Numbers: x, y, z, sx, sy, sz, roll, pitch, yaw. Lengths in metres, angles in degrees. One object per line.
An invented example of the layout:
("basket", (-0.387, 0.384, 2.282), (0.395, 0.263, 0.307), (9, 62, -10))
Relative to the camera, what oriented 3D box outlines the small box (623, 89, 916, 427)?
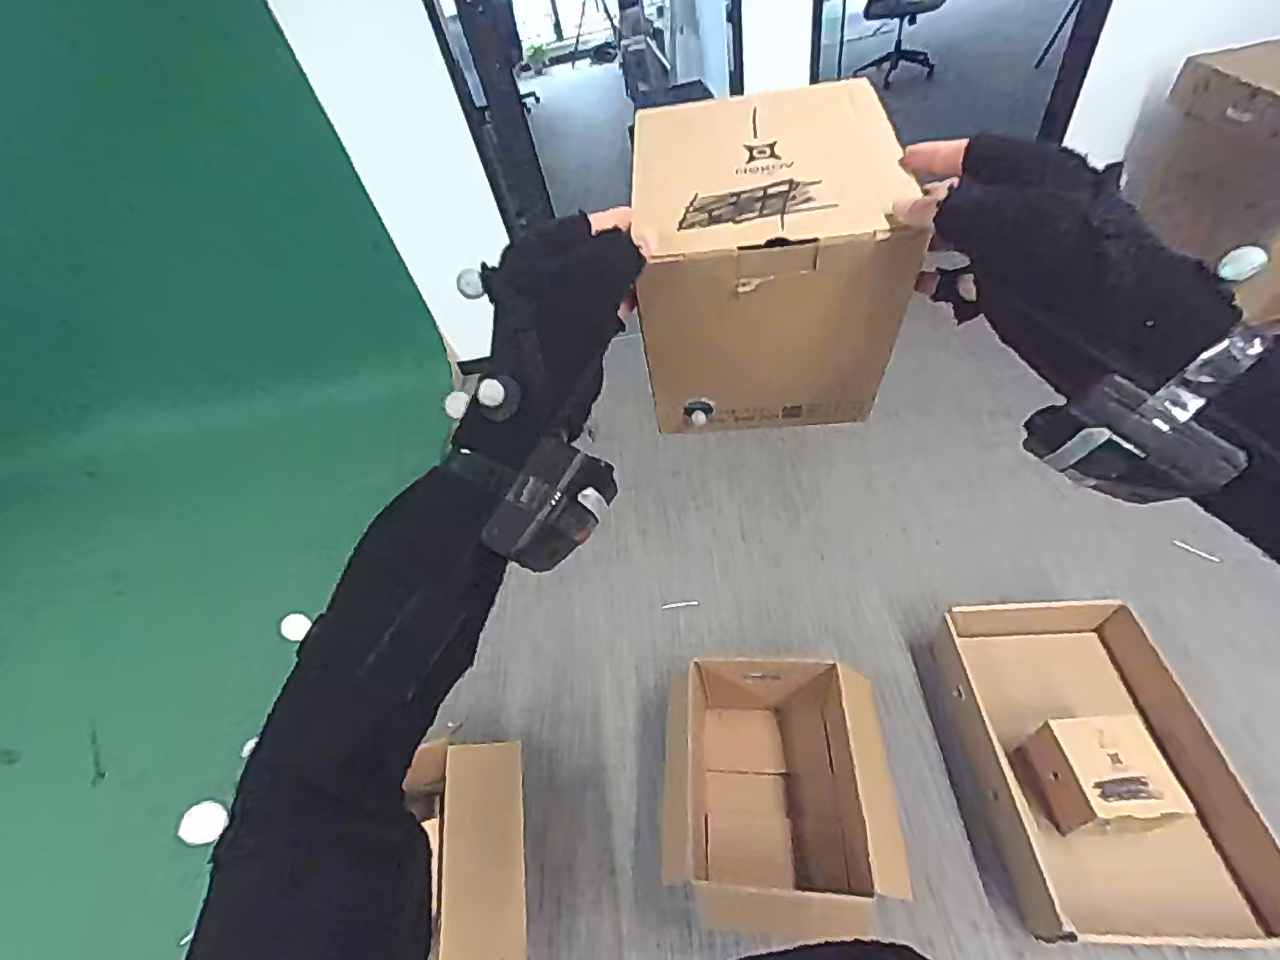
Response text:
("small box", (0.085, -0.153, 0.412), (0.168, 0.176, 0.179), (-4, 57, 8))
